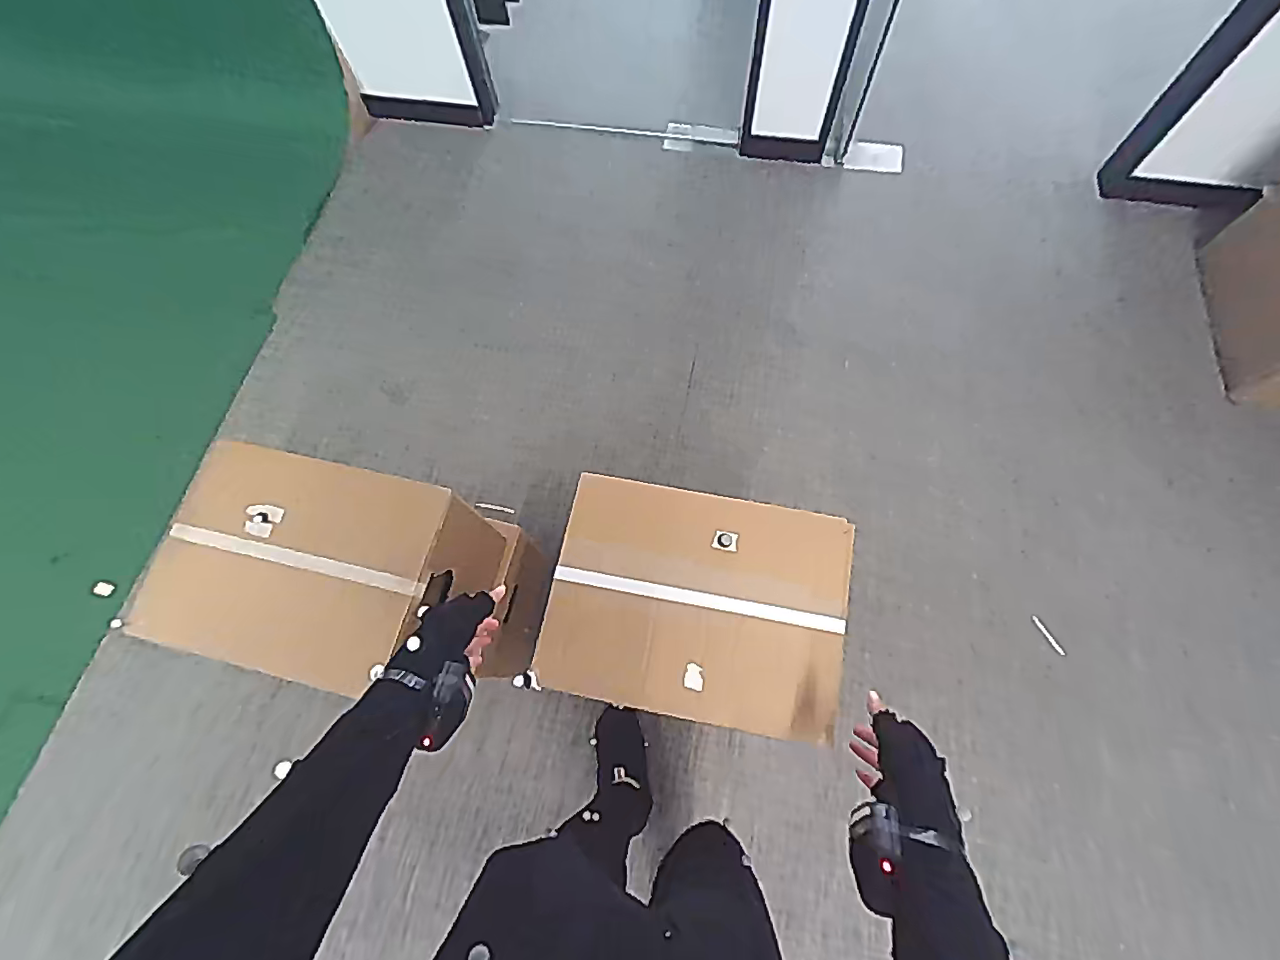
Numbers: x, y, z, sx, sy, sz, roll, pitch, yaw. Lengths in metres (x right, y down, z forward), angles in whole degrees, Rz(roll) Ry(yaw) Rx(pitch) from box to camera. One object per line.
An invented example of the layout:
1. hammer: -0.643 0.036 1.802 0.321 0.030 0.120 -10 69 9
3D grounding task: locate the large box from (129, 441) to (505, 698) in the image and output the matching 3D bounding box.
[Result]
1. large box: -0.503 0.161 0.937 0.408 0.320 0.320 12 72 9
